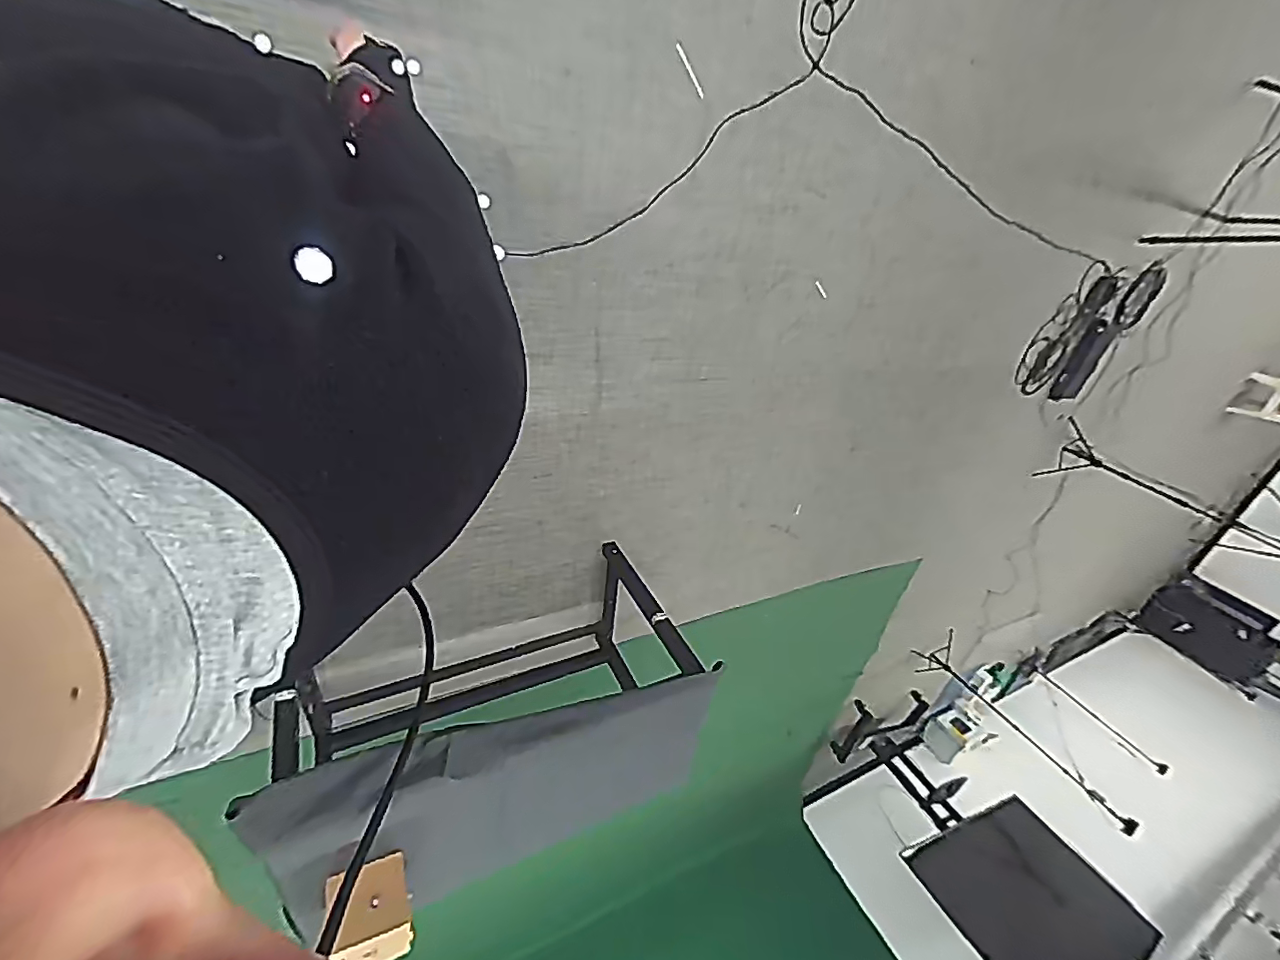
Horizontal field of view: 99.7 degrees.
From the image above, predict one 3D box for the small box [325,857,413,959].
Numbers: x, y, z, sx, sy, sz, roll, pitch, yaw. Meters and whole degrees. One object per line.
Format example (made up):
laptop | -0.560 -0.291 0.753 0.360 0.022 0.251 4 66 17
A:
small box | -0.670 1.080 1.335 0.179 0.176 0.168 -4 122 -31
